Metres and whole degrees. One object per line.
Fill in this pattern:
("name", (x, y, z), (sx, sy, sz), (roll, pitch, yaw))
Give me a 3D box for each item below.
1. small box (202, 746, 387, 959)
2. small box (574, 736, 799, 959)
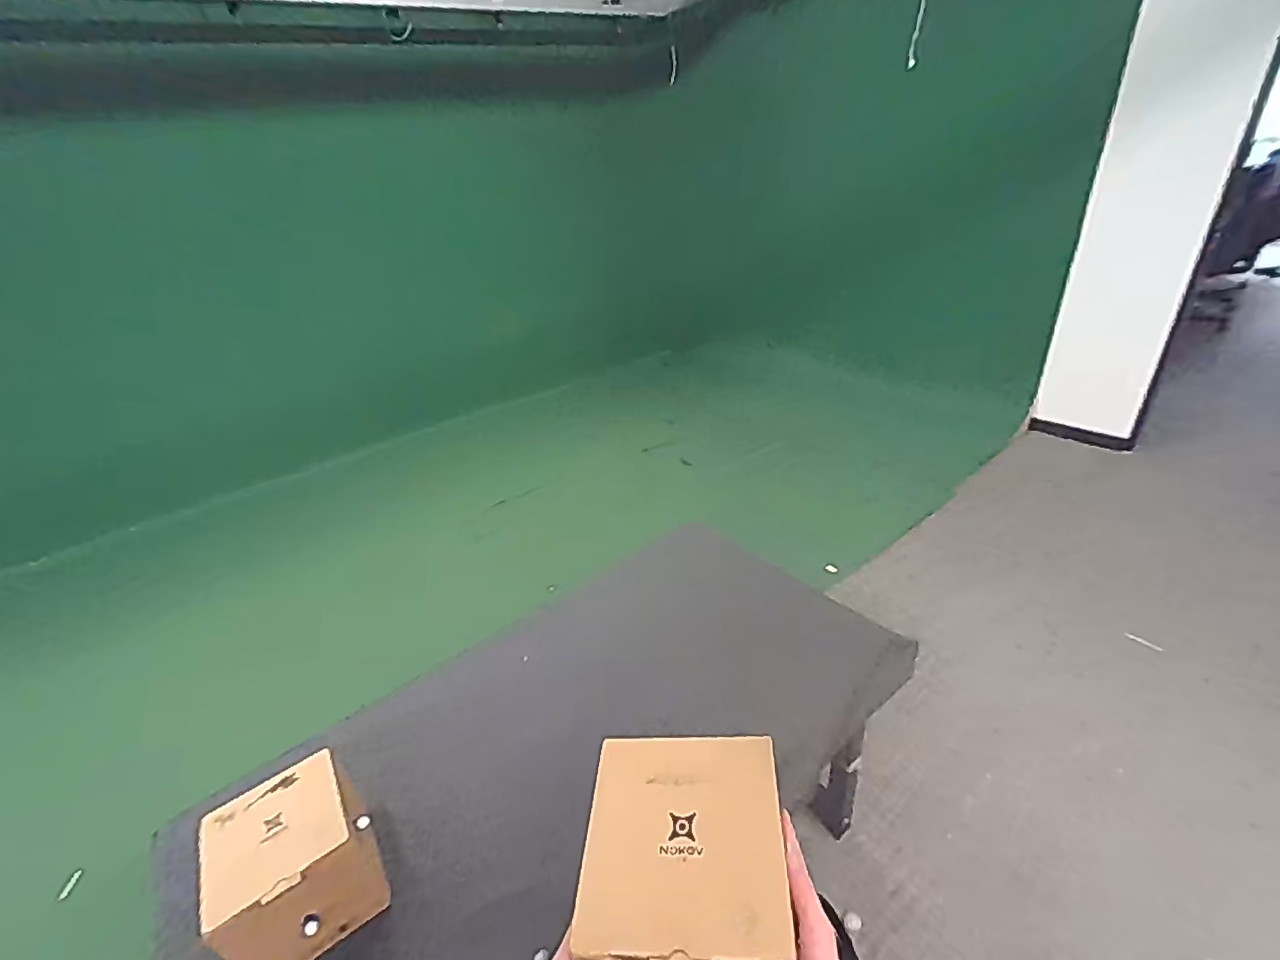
("small box", (-0.479, 0.531, 0.760), (0.168, 0.176, 0.179), (-24, 35, -29))
("small box", (0.052, 0.362, 0.490), (0.168, 0.176, 0.179), (-4, 29, 9))
